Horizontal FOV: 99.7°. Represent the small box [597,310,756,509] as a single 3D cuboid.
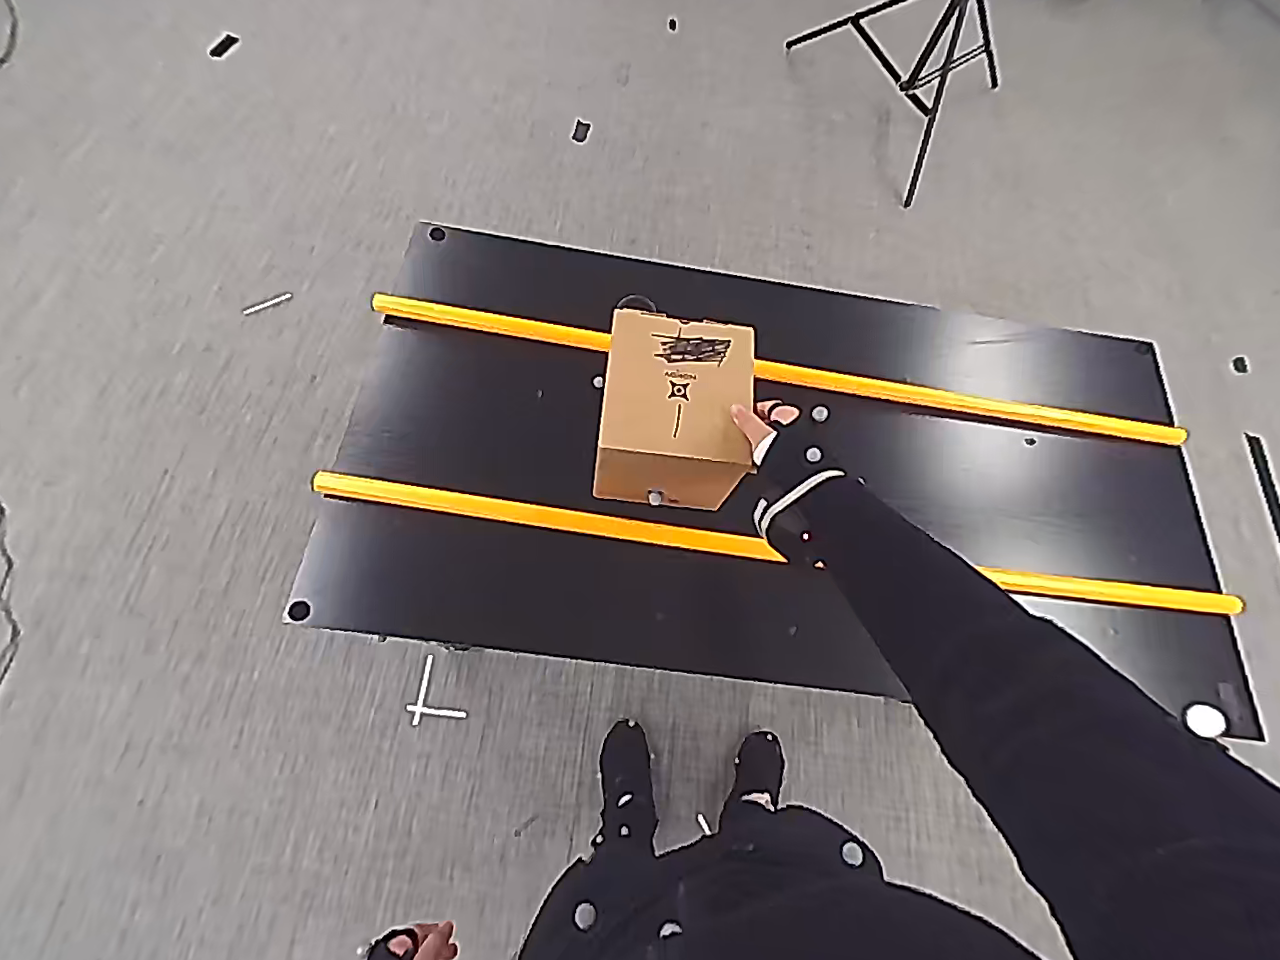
[{"bbox_3d":[0.039,-0.078,0.671,0.168,0.176,0.179,7,70,-3],"label":"small box"}]
